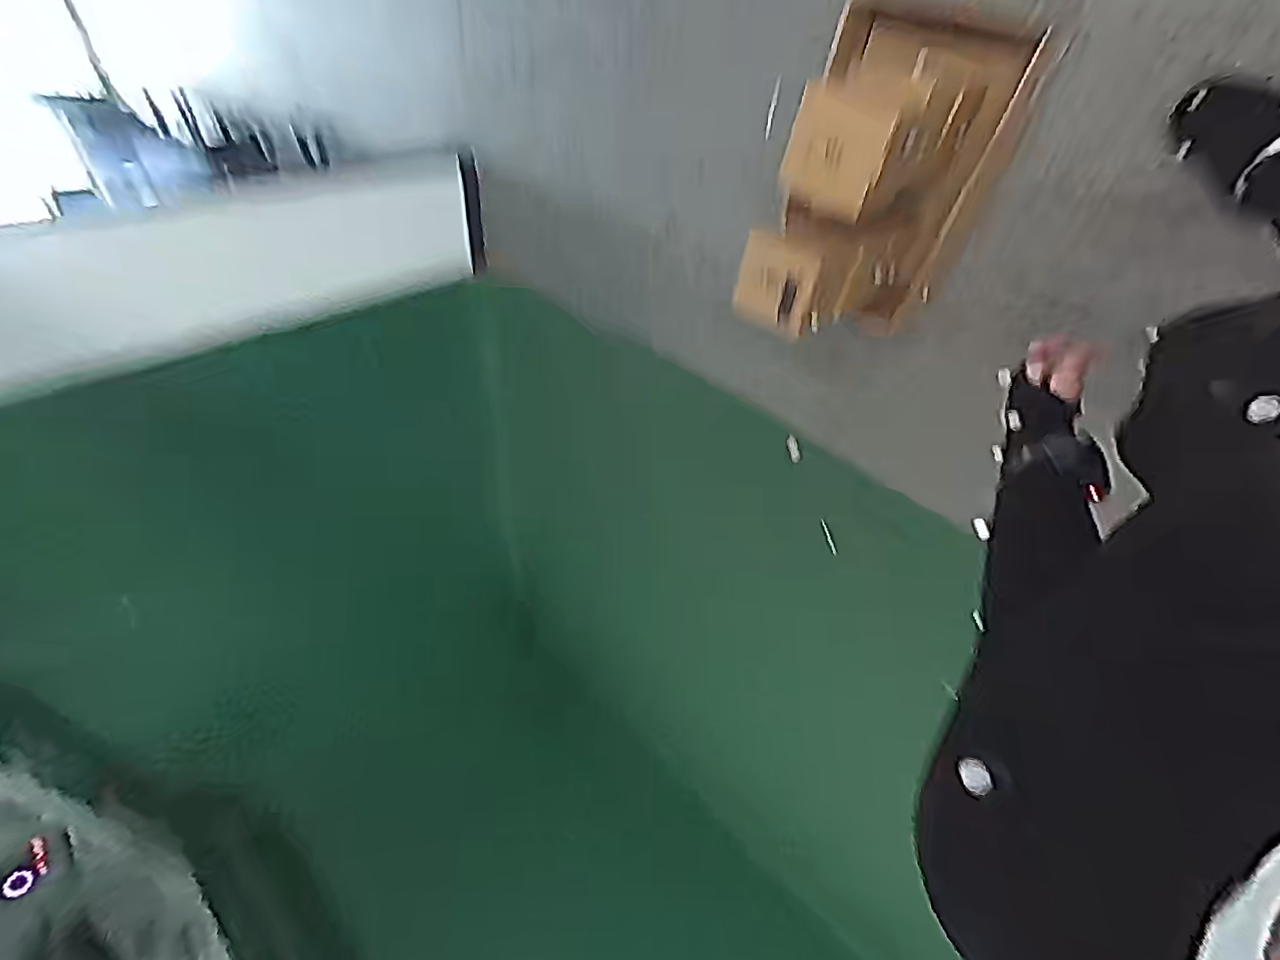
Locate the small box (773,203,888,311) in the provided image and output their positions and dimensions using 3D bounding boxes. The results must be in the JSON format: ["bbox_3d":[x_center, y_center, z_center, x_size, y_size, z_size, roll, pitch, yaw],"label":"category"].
[{"bbox_3d":[0.446,-0.524,1.255,0.168,0.176,0.179,38,138,25],"label":"small box"}]

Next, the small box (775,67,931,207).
[{"bbox_3d":[0.383,-0.623,0.974,0.179,0.176,0.168,39,140,21],"label":"small box"}]

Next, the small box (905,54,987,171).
[{"bbox_3d":[0.597,-0.792,1.157,0.179,0.176,0.168,39,141,22],"label":"small box"}]

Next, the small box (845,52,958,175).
[{"bbox_3d":[0.487,-0.715,1.061,0.168,0.176,0.179,35,139,24],"label":"small box"}]

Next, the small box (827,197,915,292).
[{"bbox_3d":[0.553,-0.601,1.356,0.179,0.176,0.168,36,139,23],"label":"small box"}]
